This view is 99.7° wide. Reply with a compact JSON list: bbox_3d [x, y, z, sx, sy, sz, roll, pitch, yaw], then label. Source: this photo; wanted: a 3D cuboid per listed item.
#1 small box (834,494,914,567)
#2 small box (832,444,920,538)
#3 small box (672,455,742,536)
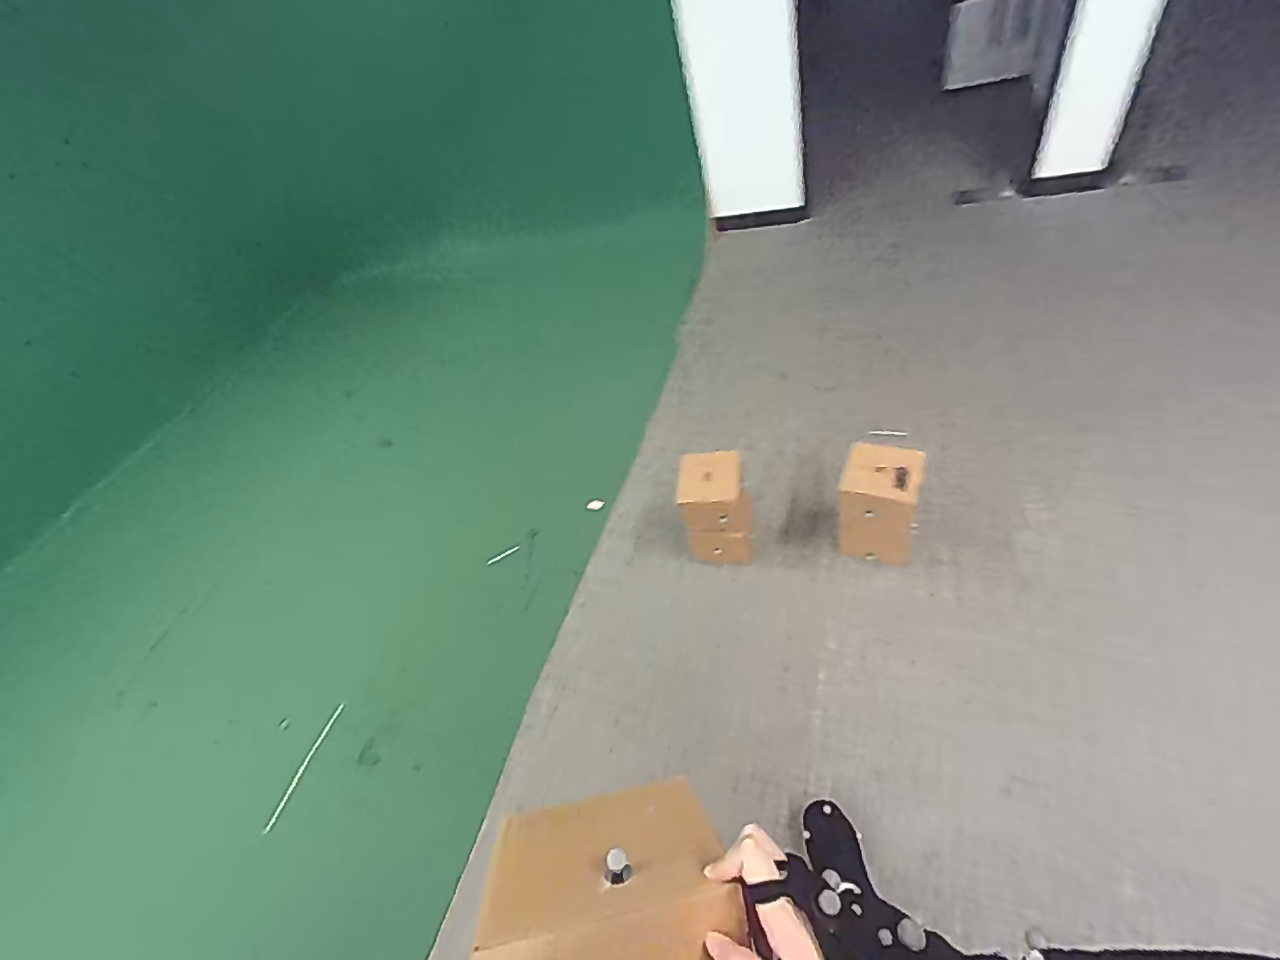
[{"bbox_3d":[0.662,0.128,1.539,0.179,0.176,0.168,12,56,27],"label":"small box"},{"bbox_3d":[0.613,0.033,1.413,0.179,0.176,0.168,12,57,29],"label":"small box"},{"bbox_3d":[0.199,0.050,1.553,0.168,0.176,0.179,-3,50,17],"label":"small box"}]
